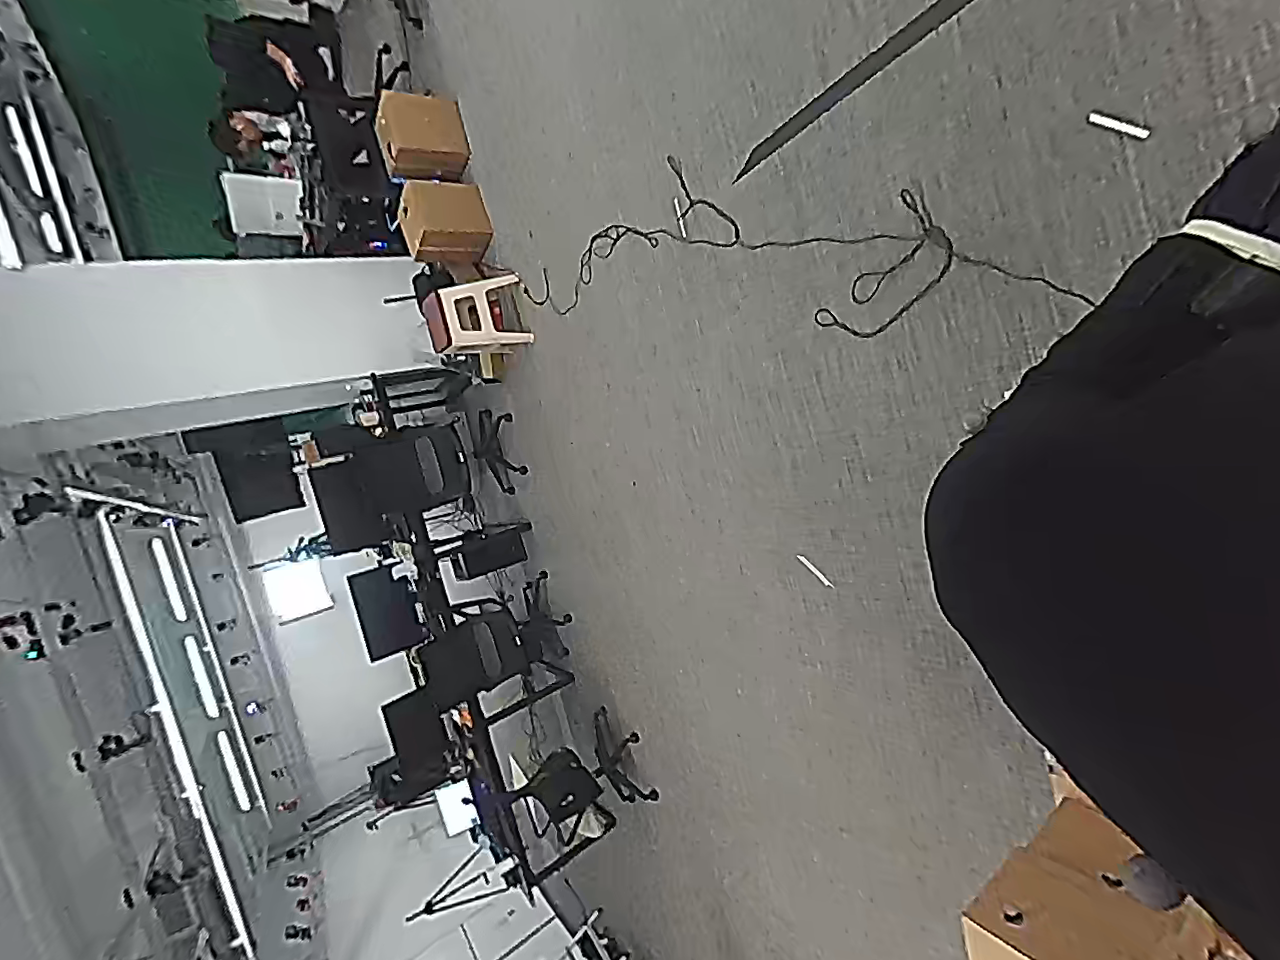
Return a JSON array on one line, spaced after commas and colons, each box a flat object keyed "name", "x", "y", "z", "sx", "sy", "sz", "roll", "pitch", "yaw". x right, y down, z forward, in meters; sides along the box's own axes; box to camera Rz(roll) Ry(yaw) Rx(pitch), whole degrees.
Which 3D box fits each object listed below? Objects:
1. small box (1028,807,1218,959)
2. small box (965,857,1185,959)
[{"name": "small box", "x": 0.702, "y": 0.625, "z": 0.788, "sx": 0.179, "sy": 0.176, "sz": 0.168, "roll": 3, "pitch": 105, "yaw": 59}, {"name": "small box", "x": 0.562, "y": 0.638, "z": 0.699, "sx": 0.179, "sy": 0.176, "sz": 0.168, "roll": -3, "pitch": 101, "yaw": 59}]
